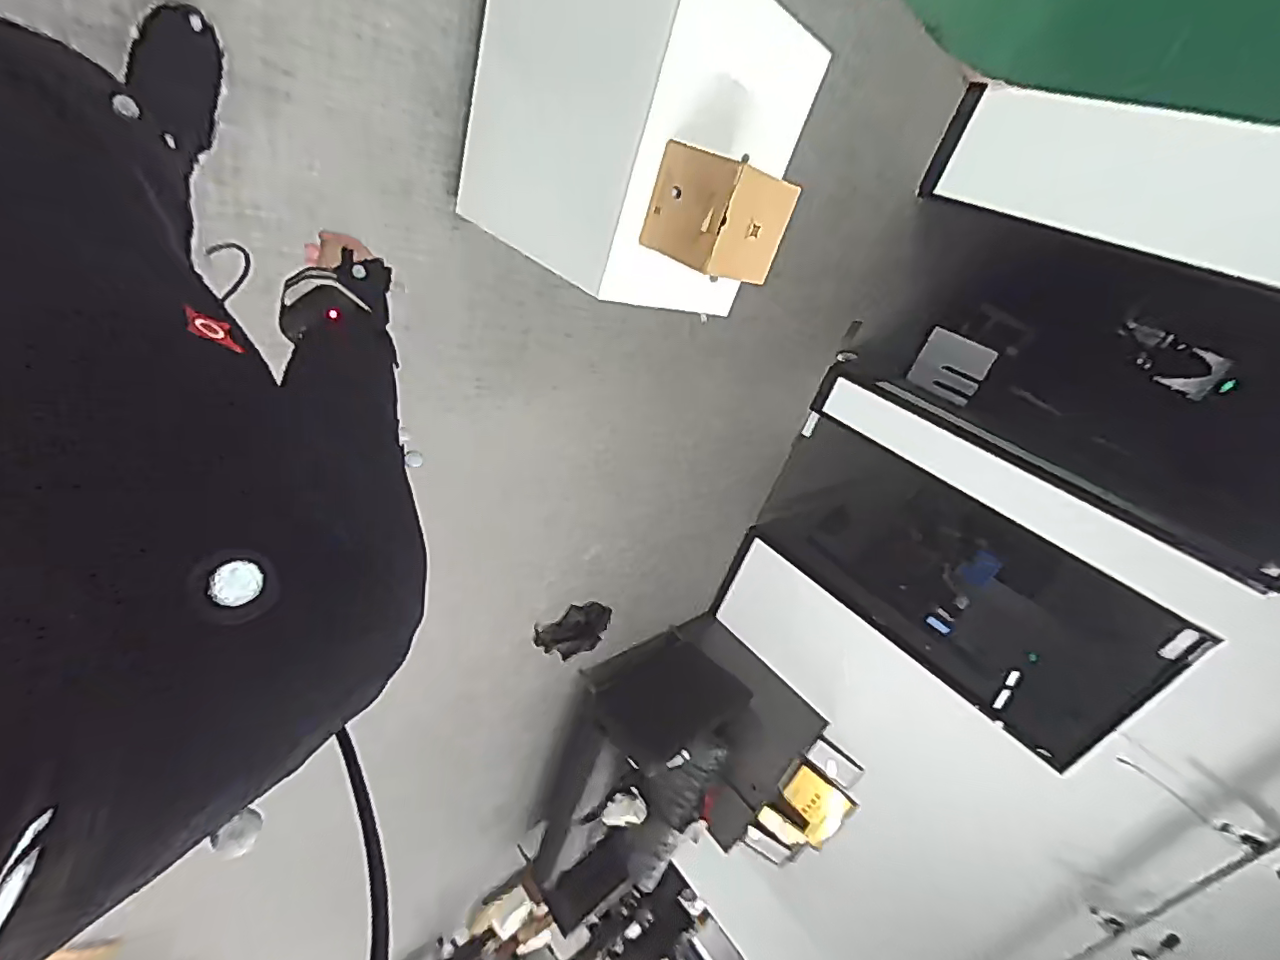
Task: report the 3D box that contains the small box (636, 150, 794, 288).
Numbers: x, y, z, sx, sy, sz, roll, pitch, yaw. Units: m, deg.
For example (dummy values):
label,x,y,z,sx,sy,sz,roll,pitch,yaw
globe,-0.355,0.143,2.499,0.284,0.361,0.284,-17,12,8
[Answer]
label,x,y,z,sx,sy,sz,roll,pitch,yaw
small box,0.126,-0.449,0.938,0.179,0.176,0.168,-13,132,-44
